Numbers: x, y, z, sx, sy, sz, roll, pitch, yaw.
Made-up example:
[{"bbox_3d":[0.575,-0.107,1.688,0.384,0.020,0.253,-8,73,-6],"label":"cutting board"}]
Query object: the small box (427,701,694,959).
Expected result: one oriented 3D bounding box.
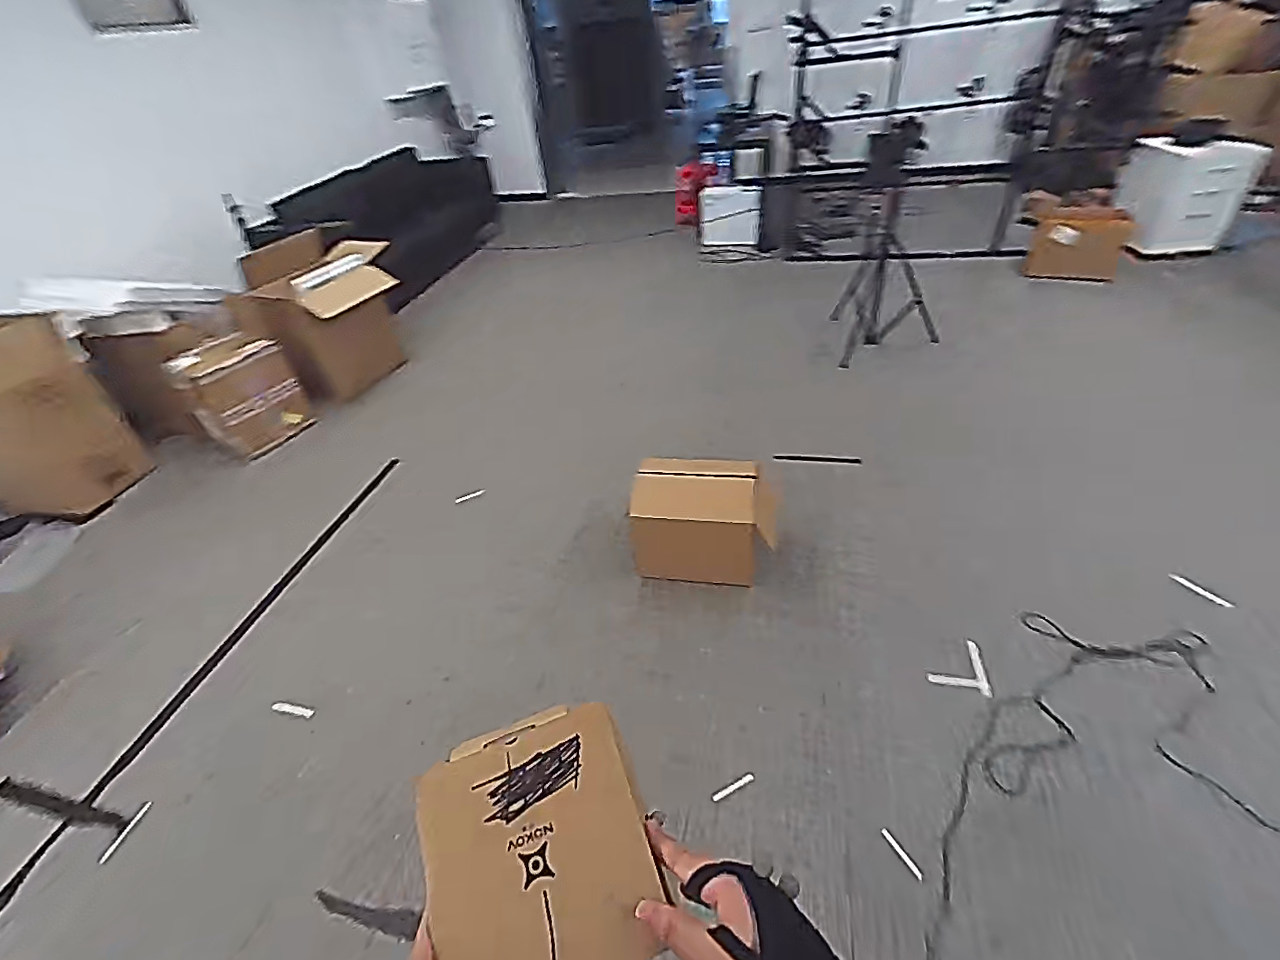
[{"bbox_3d":[-0.062,0.324,0.464,0.168,0.176,0.179,-20,55,-7],"label":"small box"}]
